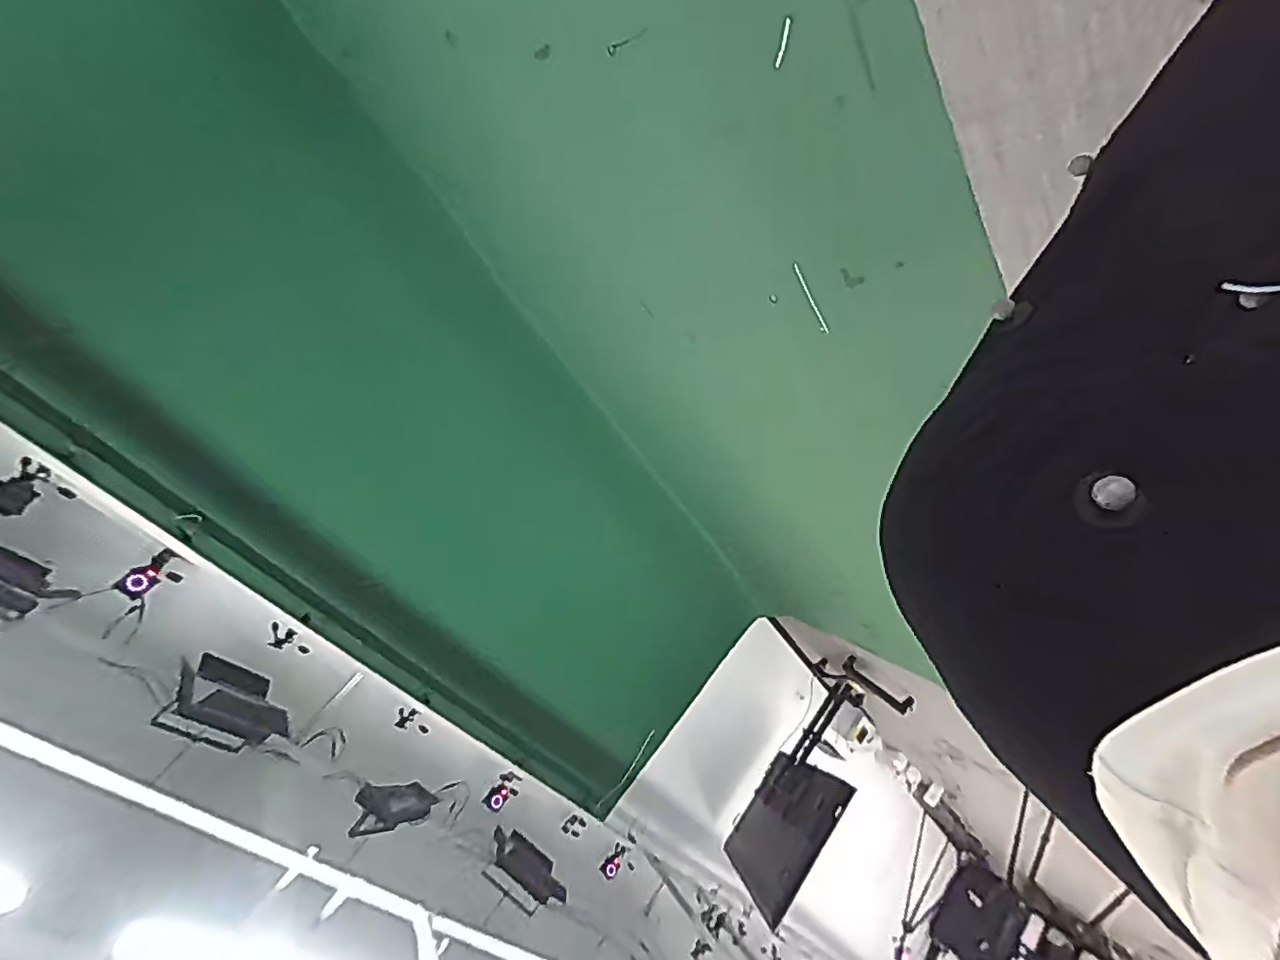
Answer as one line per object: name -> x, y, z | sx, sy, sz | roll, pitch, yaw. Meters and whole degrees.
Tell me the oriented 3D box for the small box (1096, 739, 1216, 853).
small box -> 1.371, 0.826, 1.437 | 0.168, 0.176, 0.179 | 49, 161, -21
